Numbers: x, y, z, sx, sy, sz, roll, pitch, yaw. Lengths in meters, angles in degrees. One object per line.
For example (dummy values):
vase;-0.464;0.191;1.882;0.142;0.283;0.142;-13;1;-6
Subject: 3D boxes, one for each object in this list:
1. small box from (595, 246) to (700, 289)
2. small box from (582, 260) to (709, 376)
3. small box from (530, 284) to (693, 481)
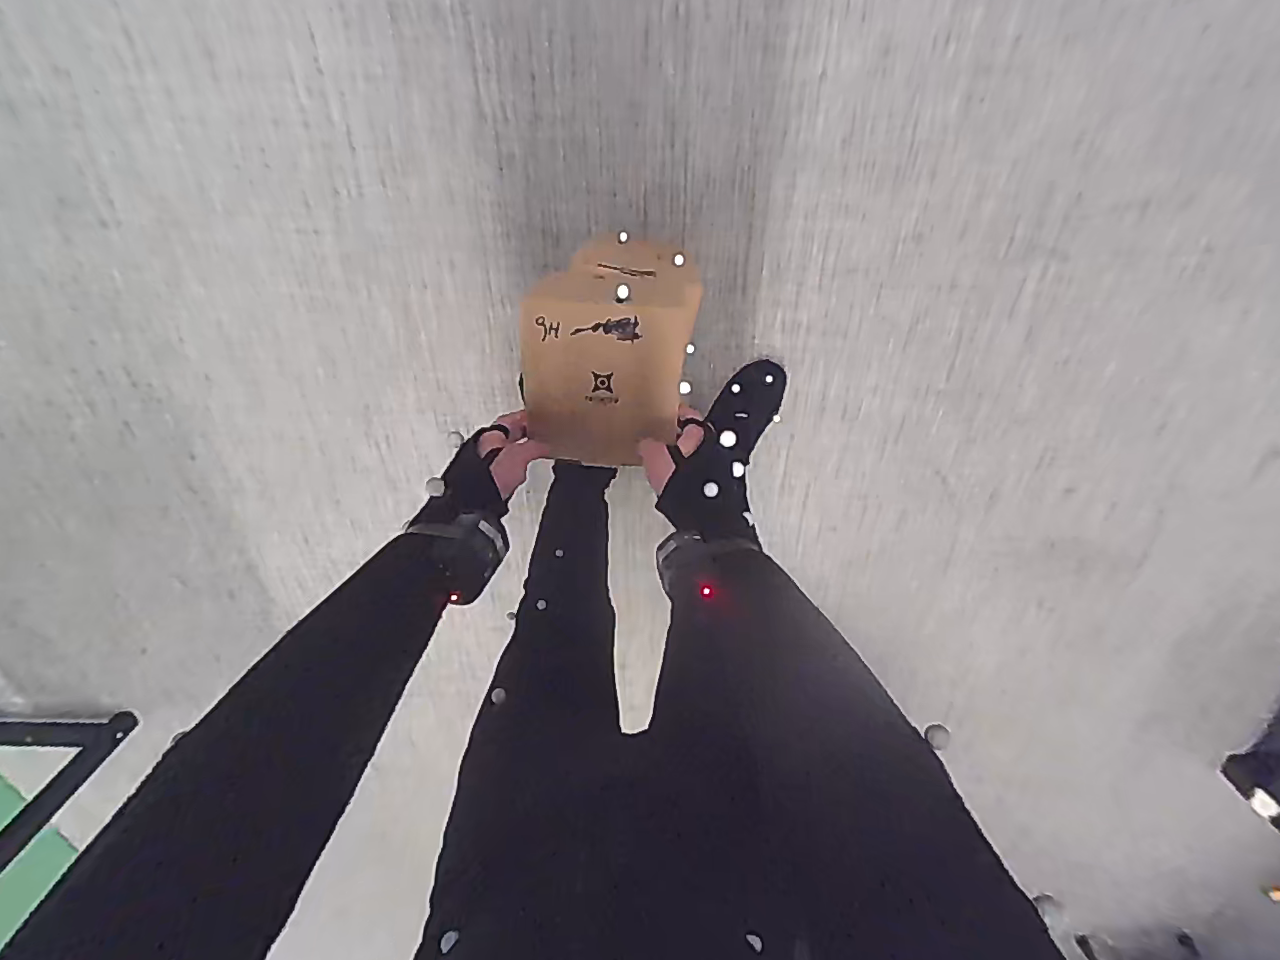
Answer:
small box;-0.001;-0.286;0.923;0.168;0.176;0.179;12;121;-3
small box;-0.007;-0.204;0.781;0.168;0.176;0.179;13;120;-3
small box;-0.027;-0.121;0.641;0.168;0.176;0.179;5;120;1
